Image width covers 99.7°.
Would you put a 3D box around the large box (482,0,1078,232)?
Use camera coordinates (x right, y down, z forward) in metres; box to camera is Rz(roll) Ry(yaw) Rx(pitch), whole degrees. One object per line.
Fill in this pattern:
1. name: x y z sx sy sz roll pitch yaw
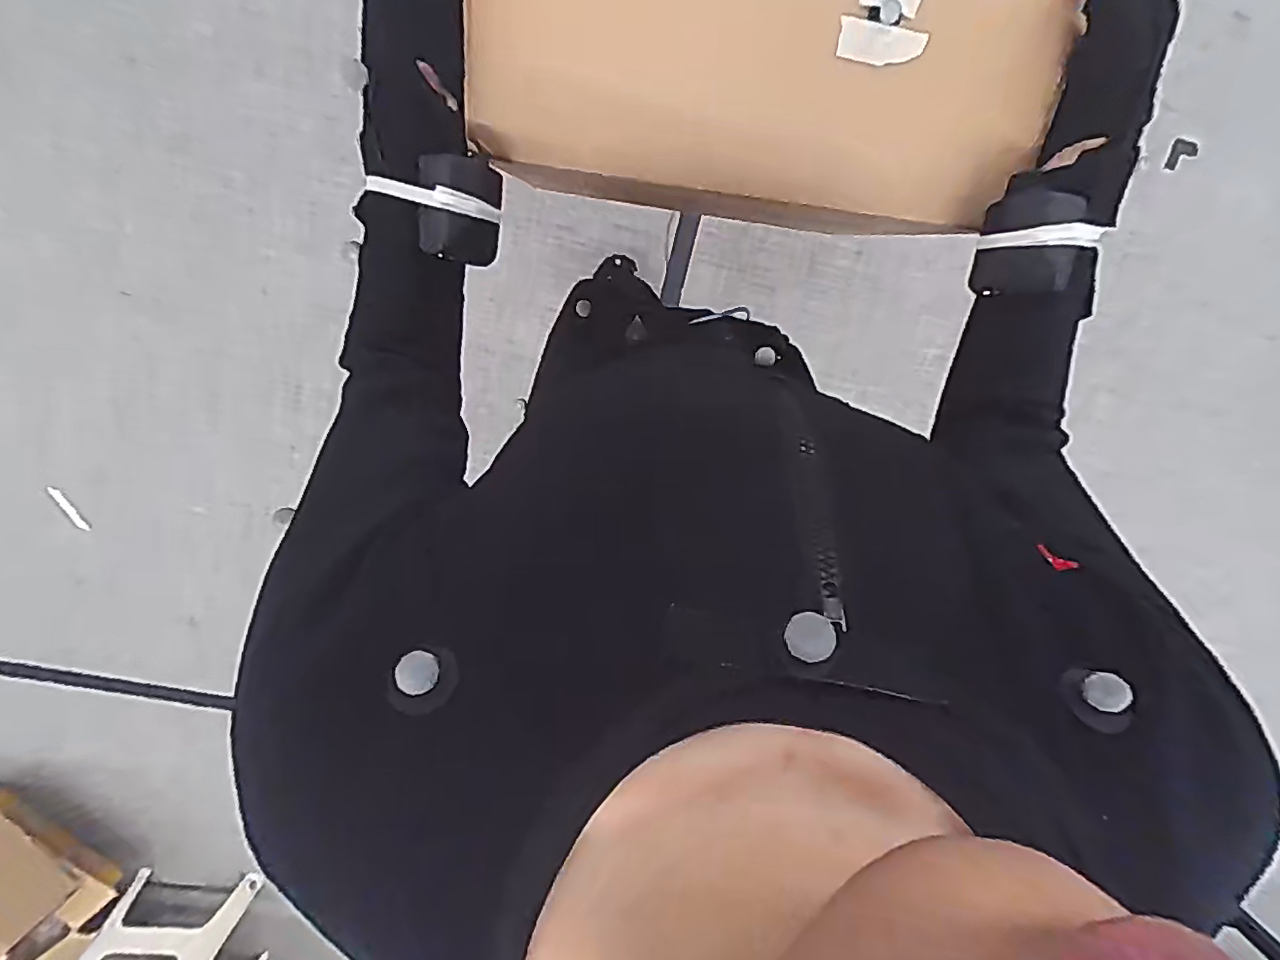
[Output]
1. large box: 0.091 -0.411 0.478 0.408 0.320 0.320 5 115 -6
